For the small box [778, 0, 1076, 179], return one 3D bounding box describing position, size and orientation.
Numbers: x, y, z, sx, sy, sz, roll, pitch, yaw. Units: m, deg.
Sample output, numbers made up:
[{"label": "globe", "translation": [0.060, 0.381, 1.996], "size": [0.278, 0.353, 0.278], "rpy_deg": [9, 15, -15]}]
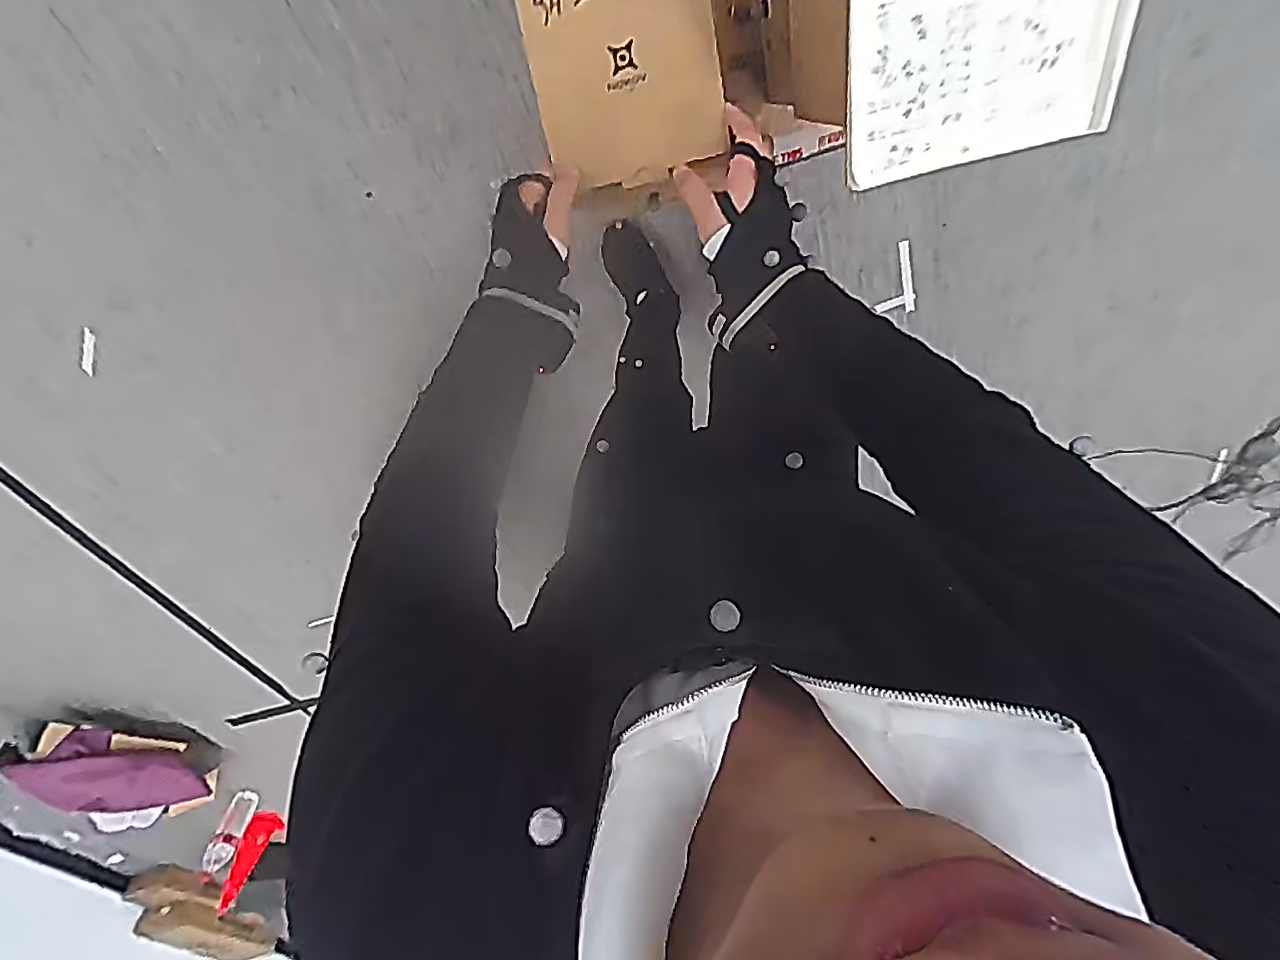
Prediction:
[{"label": "small box", "translation": [0.220, -0.375, 0.449], "size": [0.168, 0.176, 0.179], "rpy_deg": [-13, 127, 3]}]
